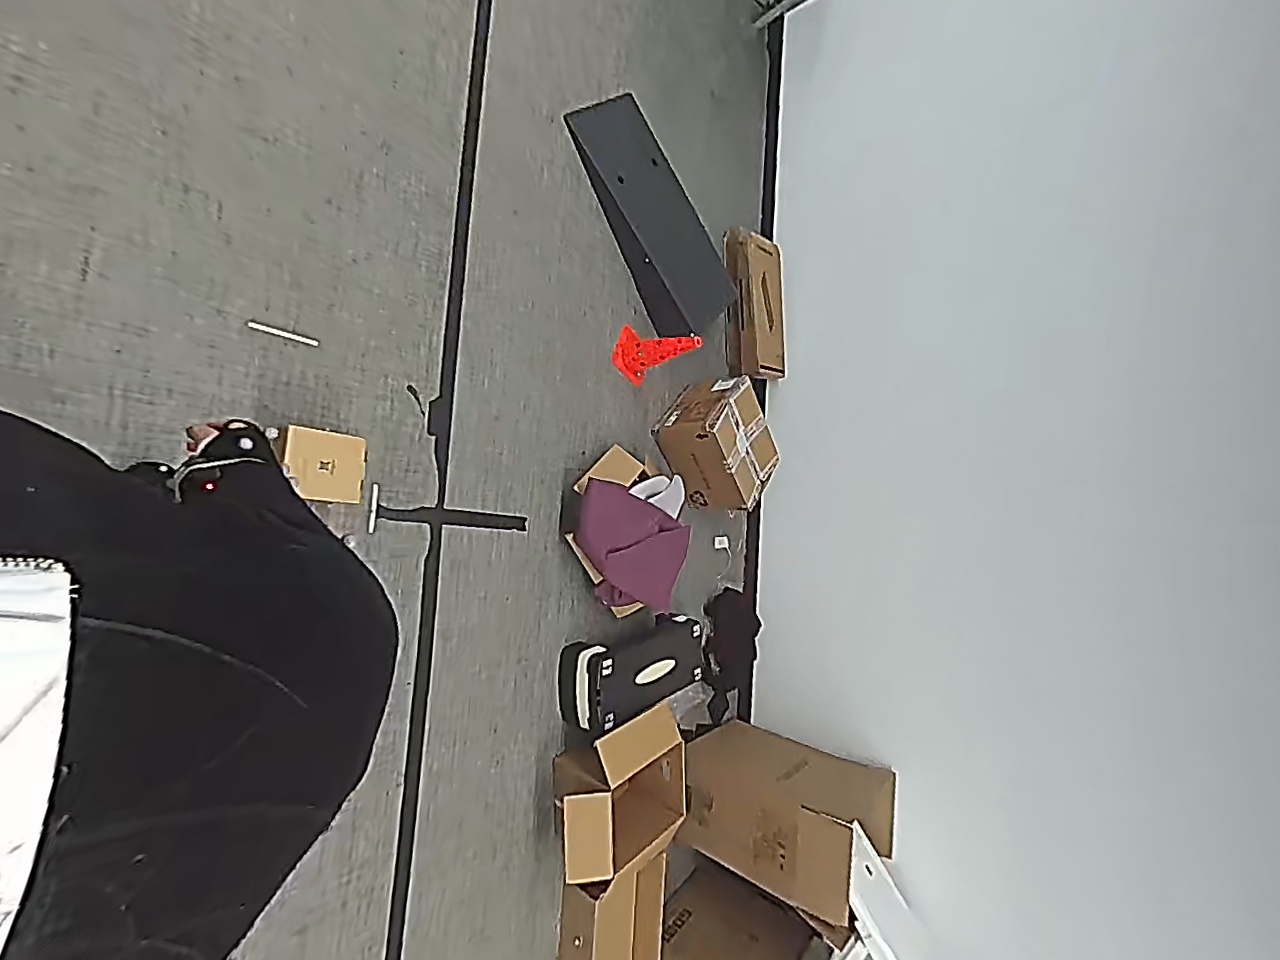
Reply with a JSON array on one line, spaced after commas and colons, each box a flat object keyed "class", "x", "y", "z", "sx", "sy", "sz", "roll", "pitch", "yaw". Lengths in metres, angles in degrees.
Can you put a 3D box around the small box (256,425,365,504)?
[{"class": "small box", "x": -0.803, "y": -0.032, "z": 1.320, "sx": 0.179, "sy": 0.176, "sz": 0.168, "roll": 10, "pitch": 81, "yaw": -48}]
